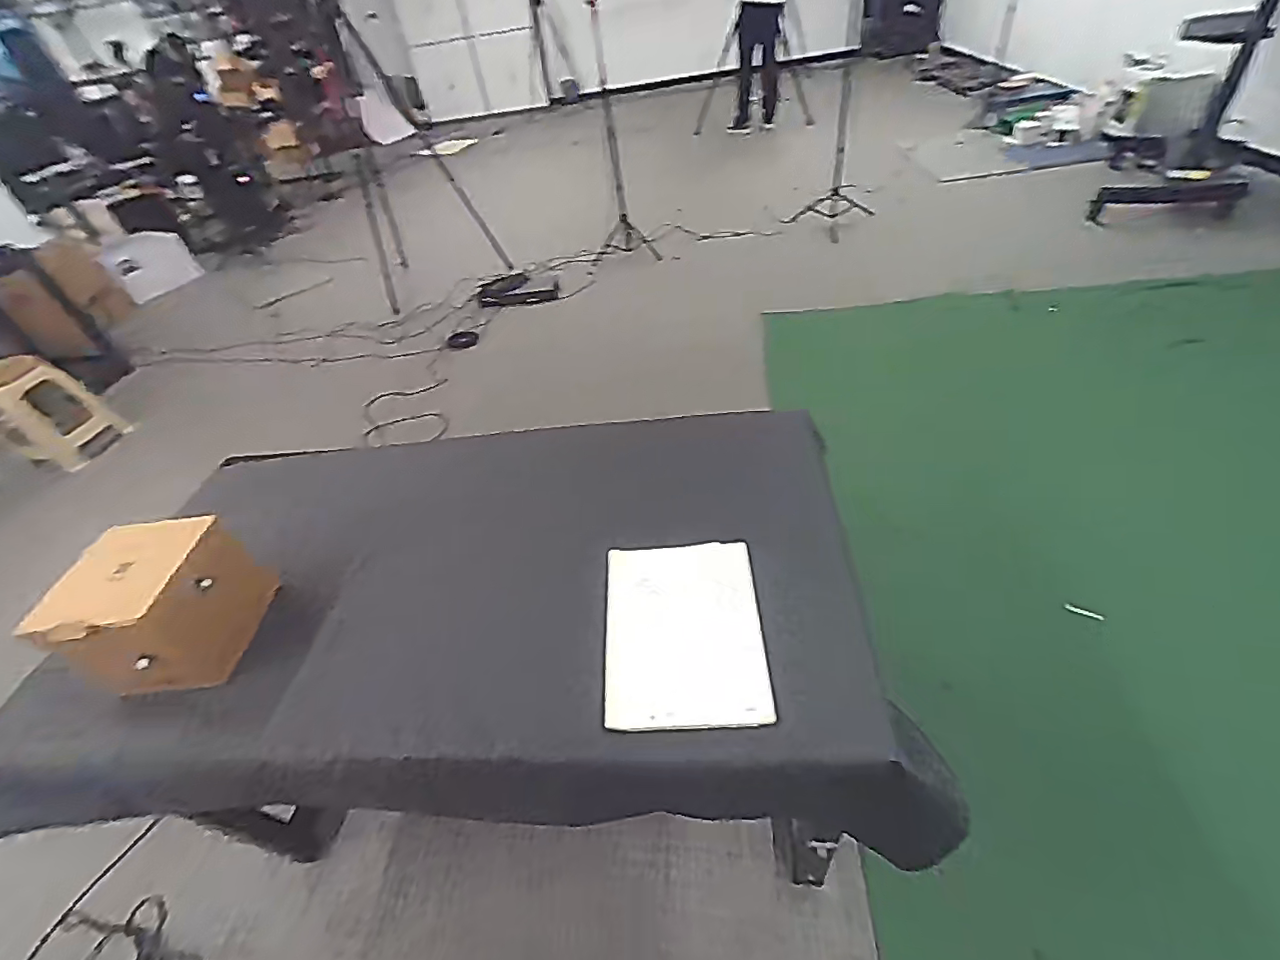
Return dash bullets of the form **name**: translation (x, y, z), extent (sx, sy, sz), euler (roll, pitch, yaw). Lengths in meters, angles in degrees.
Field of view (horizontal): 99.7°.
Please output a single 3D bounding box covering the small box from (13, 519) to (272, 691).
- **small box**: translation (-0.670, 0.181, 0.762), extent (0.168, 0.176, 0.179), euler (-6, 42, 3)
